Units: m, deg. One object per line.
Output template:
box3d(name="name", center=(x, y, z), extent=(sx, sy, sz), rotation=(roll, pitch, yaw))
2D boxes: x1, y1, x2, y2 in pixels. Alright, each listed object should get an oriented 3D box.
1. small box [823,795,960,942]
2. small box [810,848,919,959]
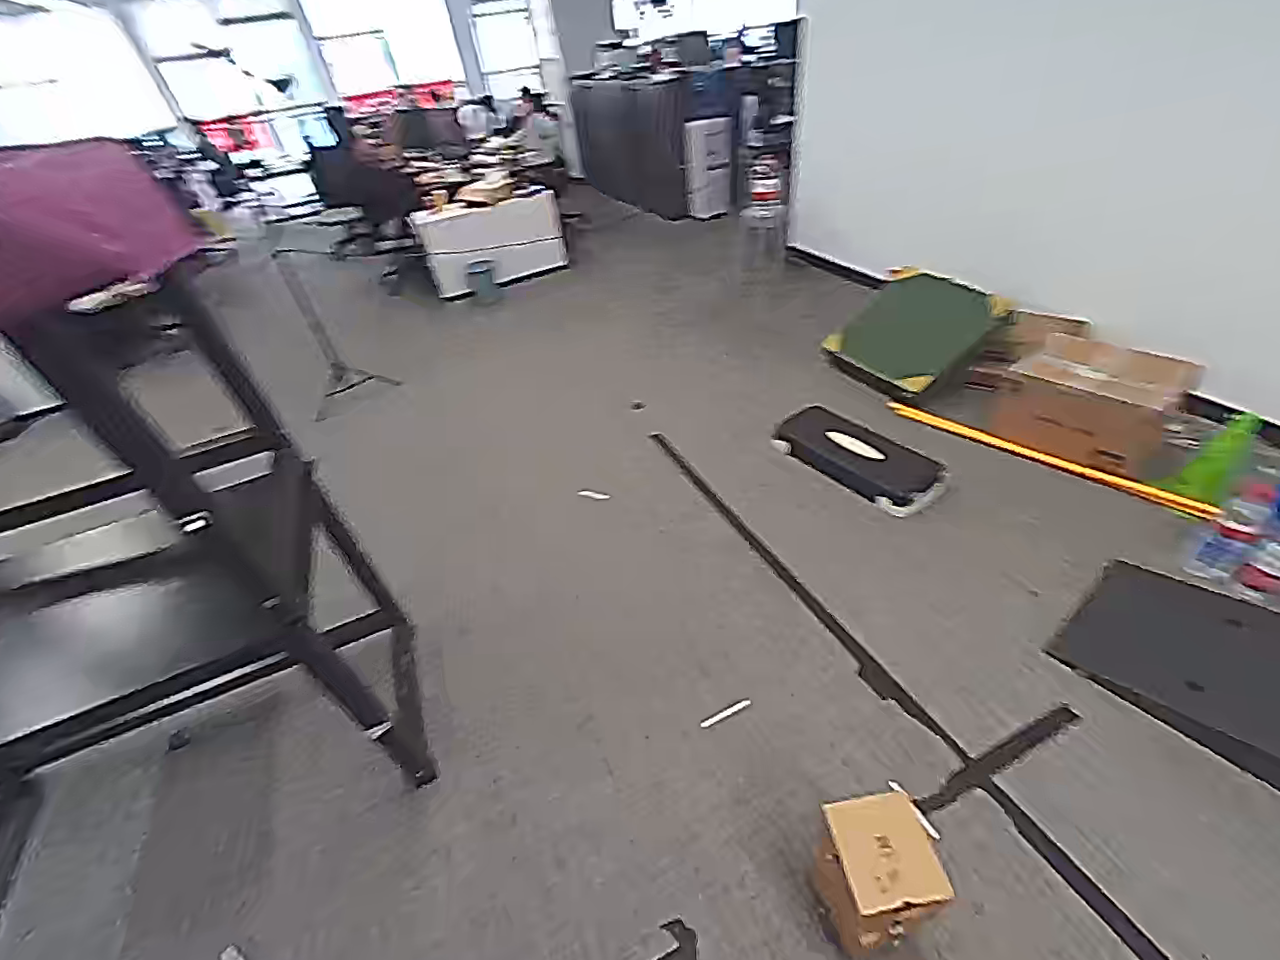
box3d(name="small box", center=(0.457, 0.731, 1.018), extent=(0.168, 0.176, 0.179), rotation=(-10, 40, 0))
box3d(name="small box", center=(0.475, 0.858, 1.123), extent=(0.168, 0.176, 0.179), rotation=(-18, 42, -10))
